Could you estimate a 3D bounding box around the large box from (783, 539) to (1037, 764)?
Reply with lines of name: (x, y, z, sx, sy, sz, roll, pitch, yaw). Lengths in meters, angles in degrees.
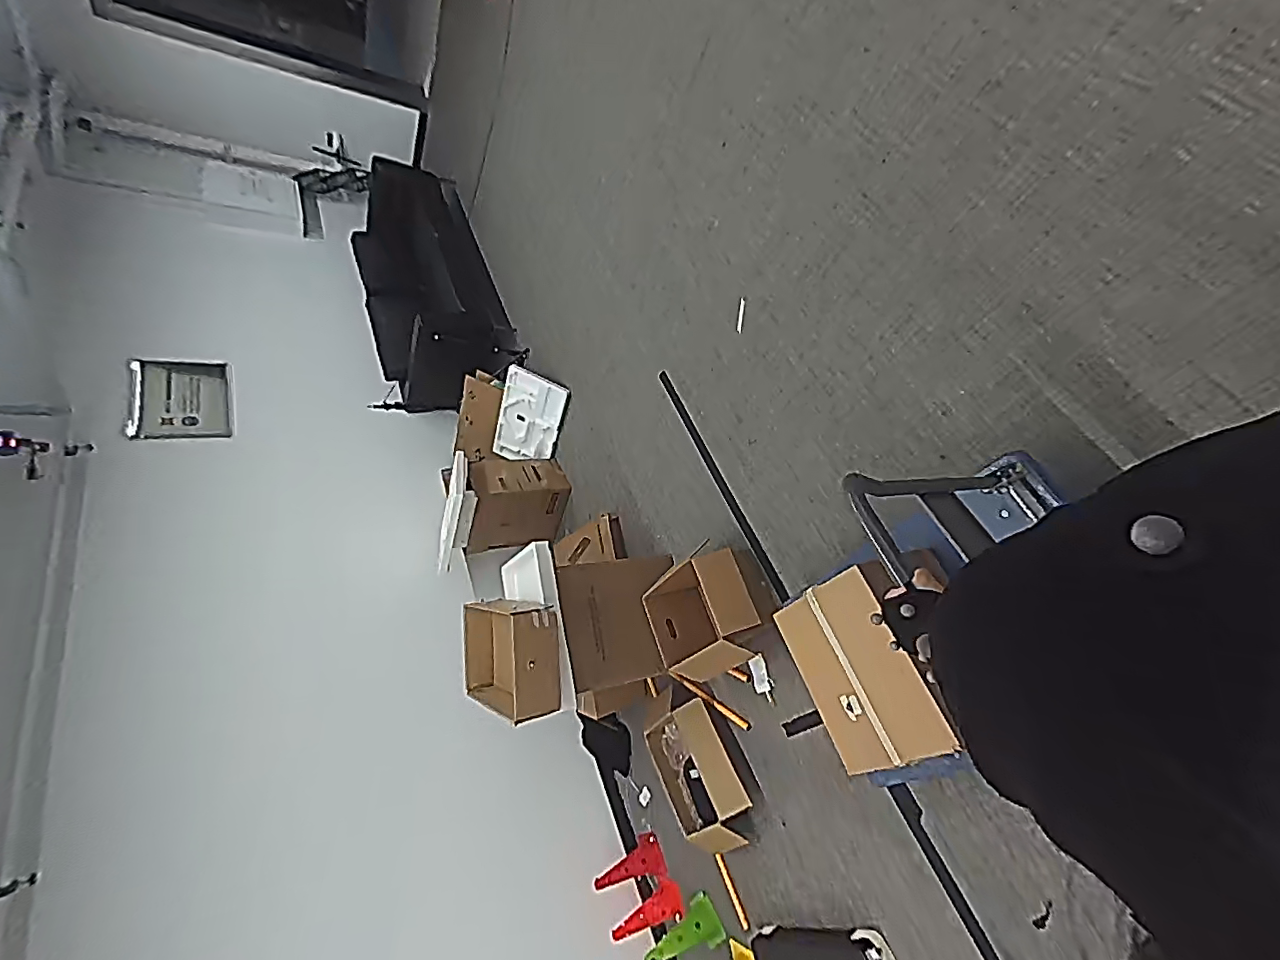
large box: (0.634, 0.403, 1.314, 0.320, 0.320, 0.408, -53, 52, 46)
